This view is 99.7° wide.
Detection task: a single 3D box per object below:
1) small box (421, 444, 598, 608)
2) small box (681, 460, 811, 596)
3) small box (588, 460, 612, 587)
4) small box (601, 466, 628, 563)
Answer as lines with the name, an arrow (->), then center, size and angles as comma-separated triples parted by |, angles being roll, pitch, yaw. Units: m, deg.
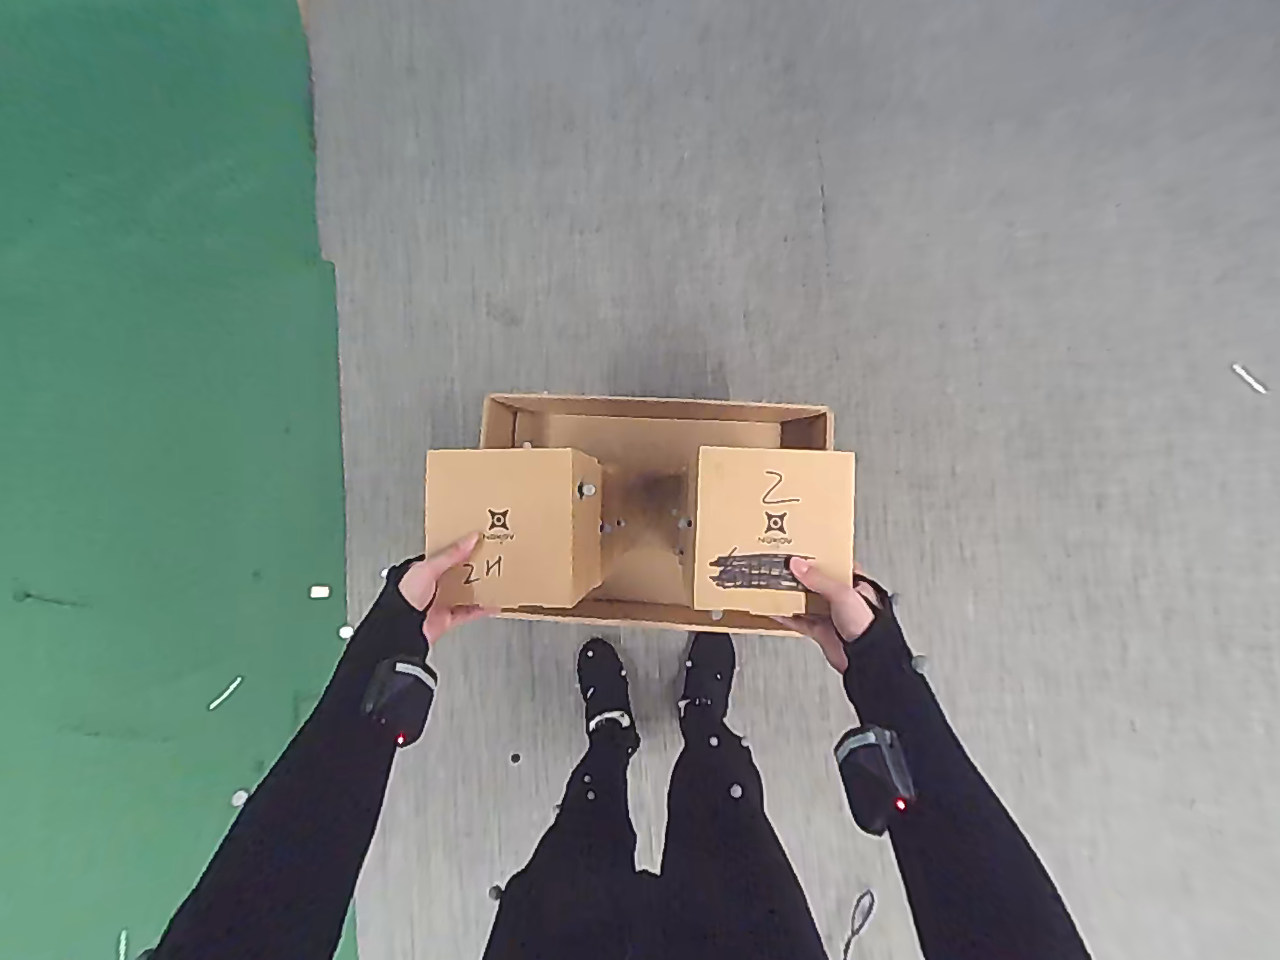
small box -> -0.147, 0.052, 0.660 | 0.168, 0.176, 0.179 | 0, 88, 5
small box -> 0.147, 0.068, 0.800 | 0.168, 0.176, 0.179 | 3, 86, 3
small box -> -0.135, 0.066, 0.826 | 0.168, 0.176, 0.179 | -1, 87, 3
small box -> -0.119, 0.061, 0.987 | 0.179, 0.176, 0.168 | 0, 87, 4
